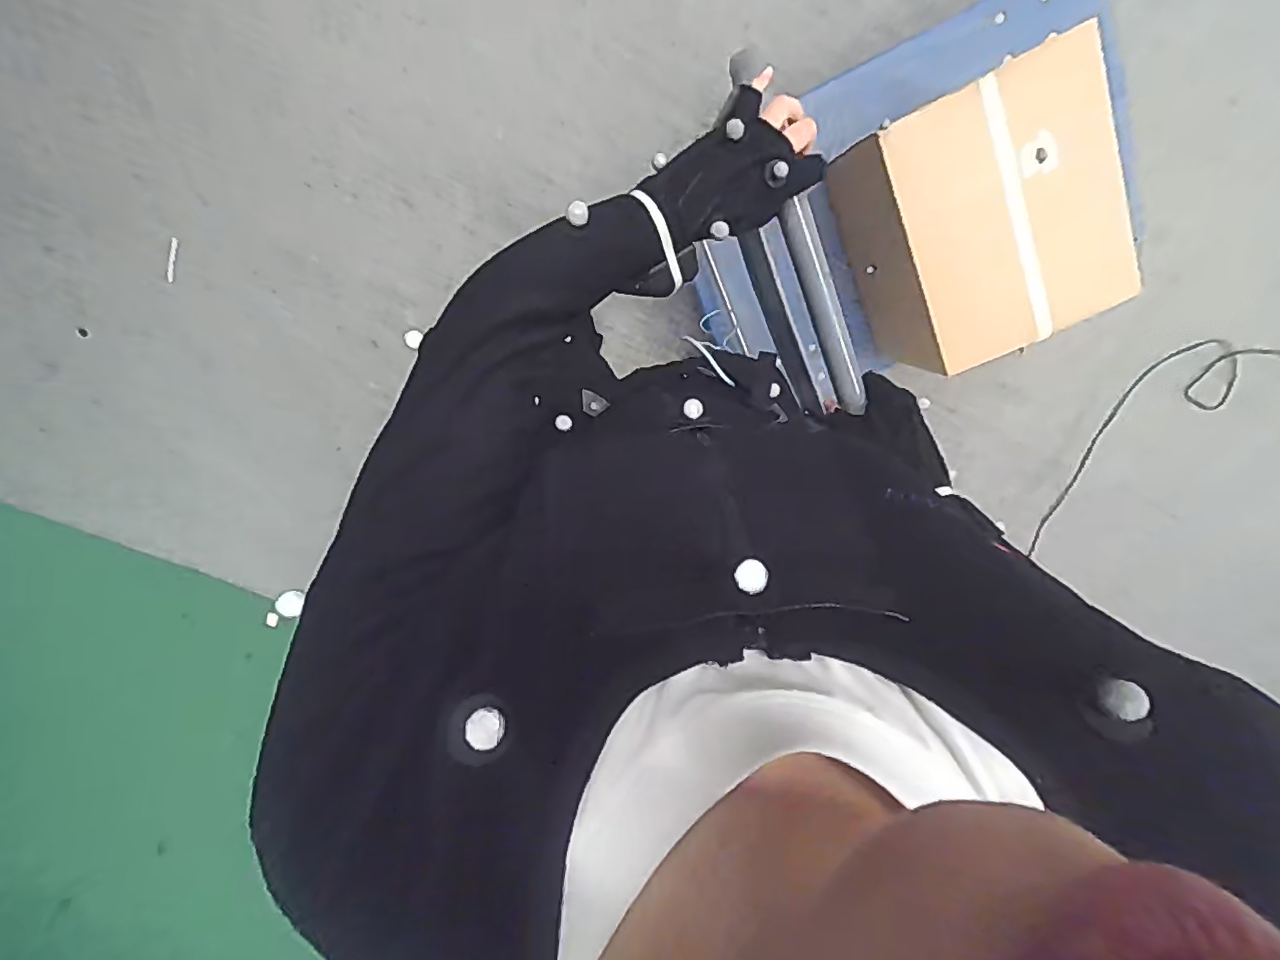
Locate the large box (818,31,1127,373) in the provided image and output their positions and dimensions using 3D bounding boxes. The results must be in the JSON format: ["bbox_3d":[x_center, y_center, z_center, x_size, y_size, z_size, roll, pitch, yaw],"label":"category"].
[{"bbox_3d":[0.570,-0.455,0.985,0.320,0.320,0.408,-24,105,10],"label":"large box"}]
